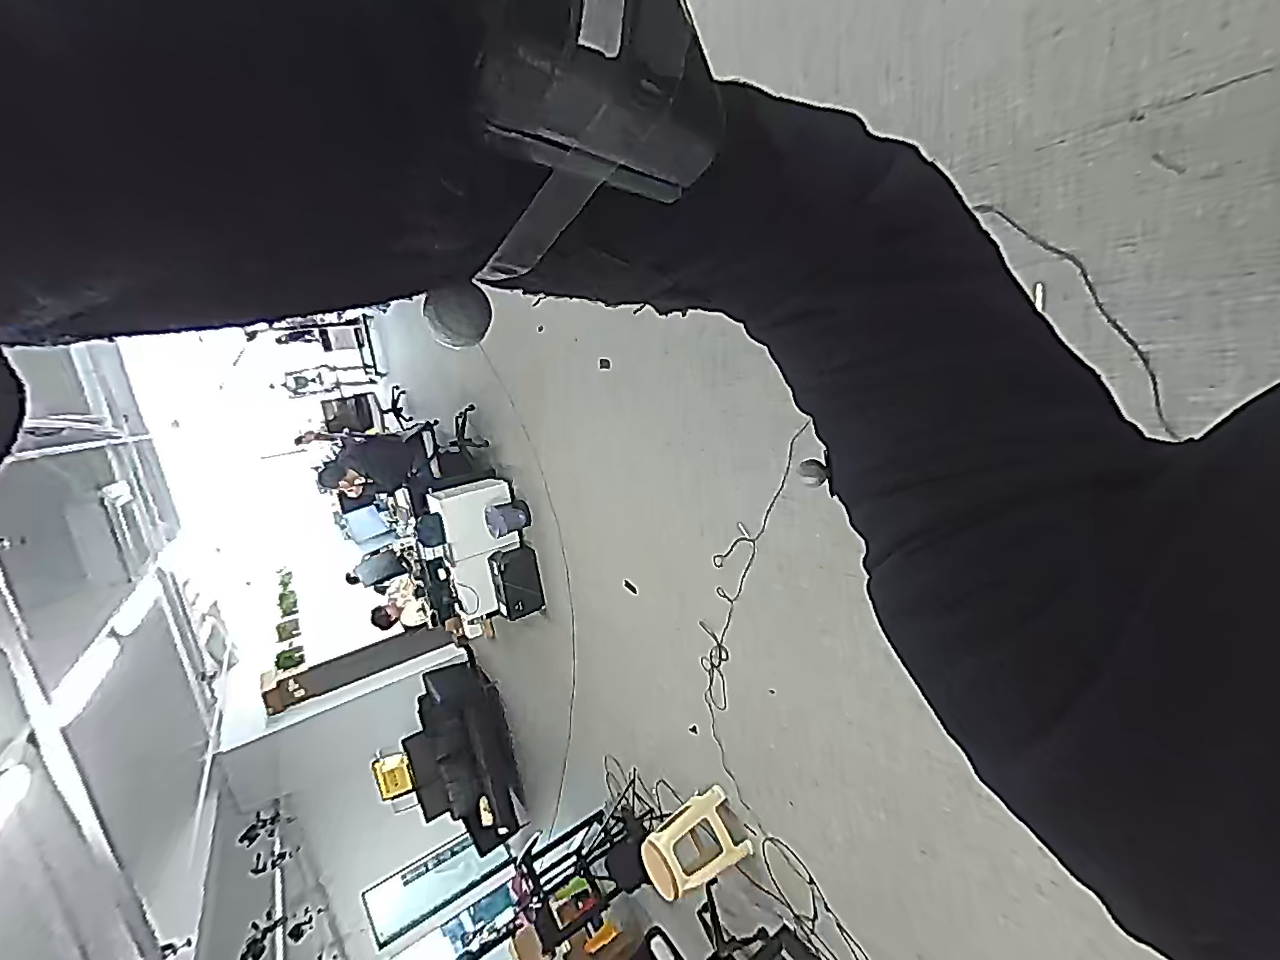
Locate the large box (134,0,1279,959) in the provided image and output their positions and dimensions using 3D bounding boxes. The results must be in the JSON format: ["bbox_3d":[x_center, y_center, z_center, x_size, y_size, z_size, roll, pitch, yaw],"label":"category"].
[{"bbox_3d":[0.122,0.060,0.154,0.408,0.320,0.320,14,-115,53],"label":"large box"}]
